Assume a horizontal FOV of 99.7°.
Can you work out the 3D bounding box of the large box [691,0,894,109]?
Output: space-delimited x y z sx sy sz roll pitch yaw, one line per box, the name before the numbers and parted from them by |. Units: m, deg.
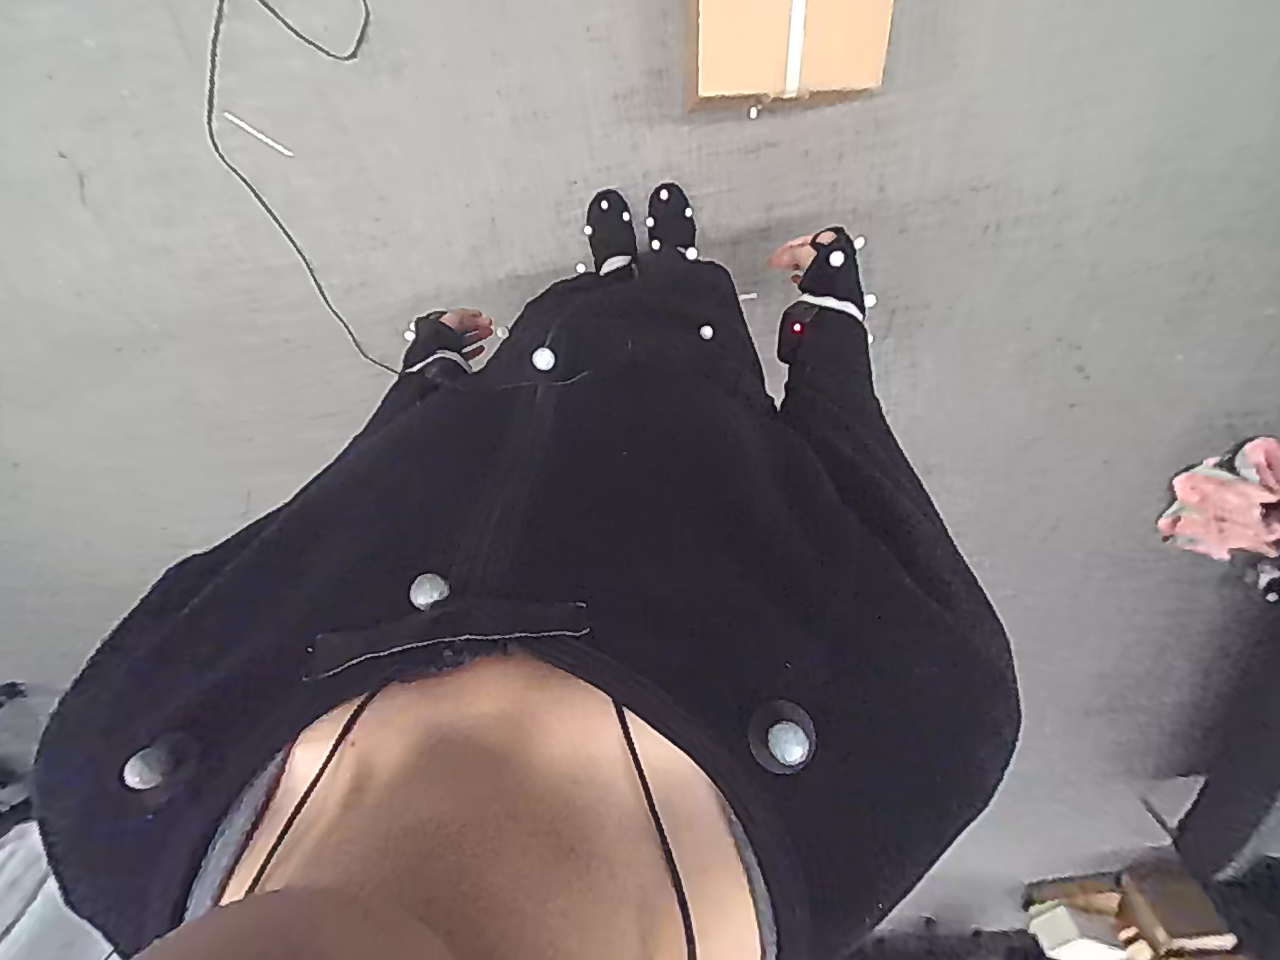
large box | 0.250 -0.919 0.951 0.320 0.320 0.408 -2 120 1
